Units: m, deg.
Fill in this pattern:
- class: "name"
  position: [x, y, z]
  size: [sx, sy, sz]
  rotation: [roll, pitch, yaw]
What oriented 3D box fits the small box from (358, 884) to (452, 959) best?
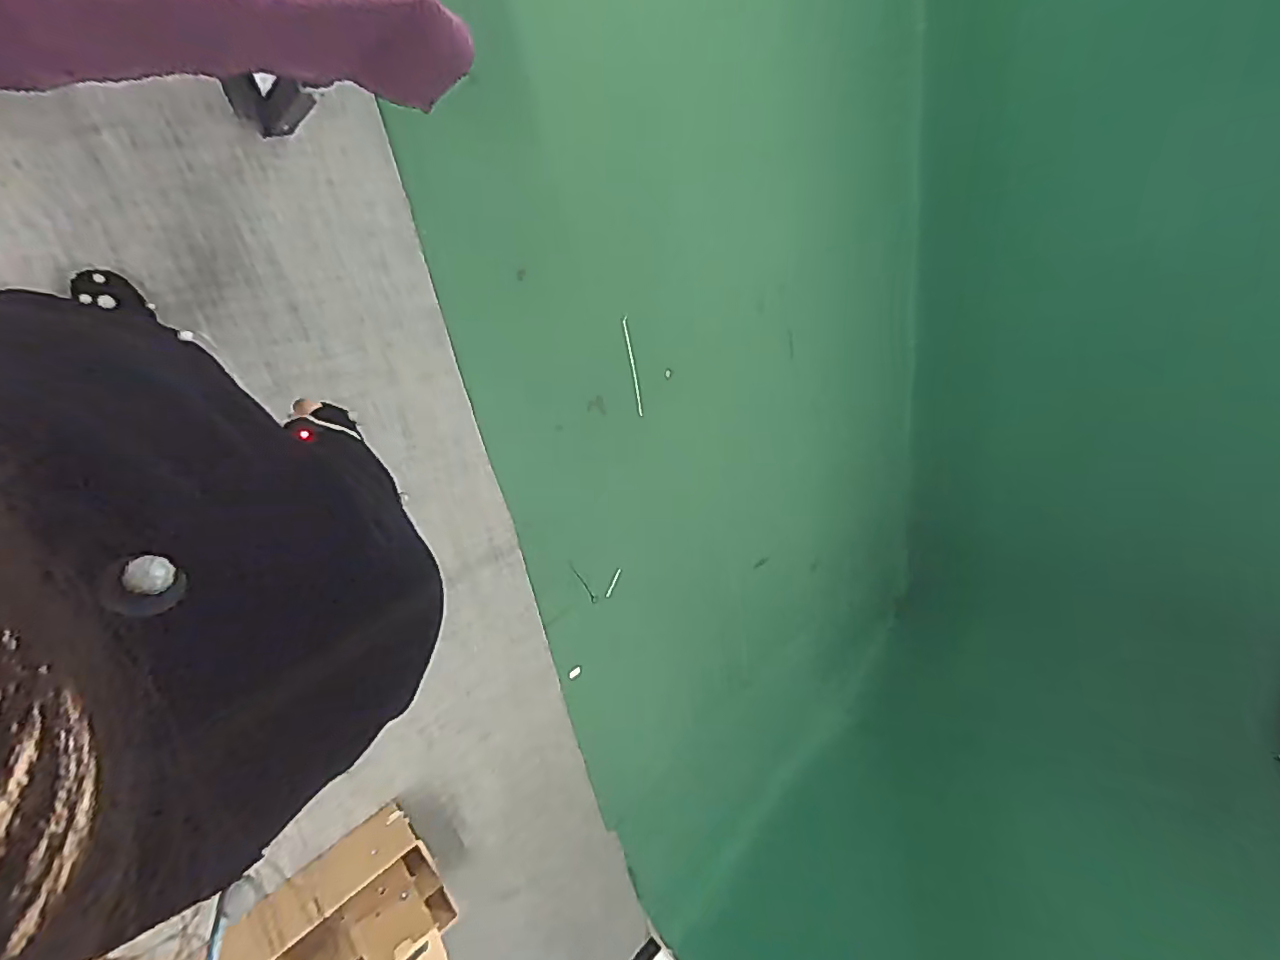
- class: "small box"
  position: [-0.638, 1.250, 1.464]
  size: [0.168, 0.176, 0.179]
  rotation: [-22, 117, -37]
